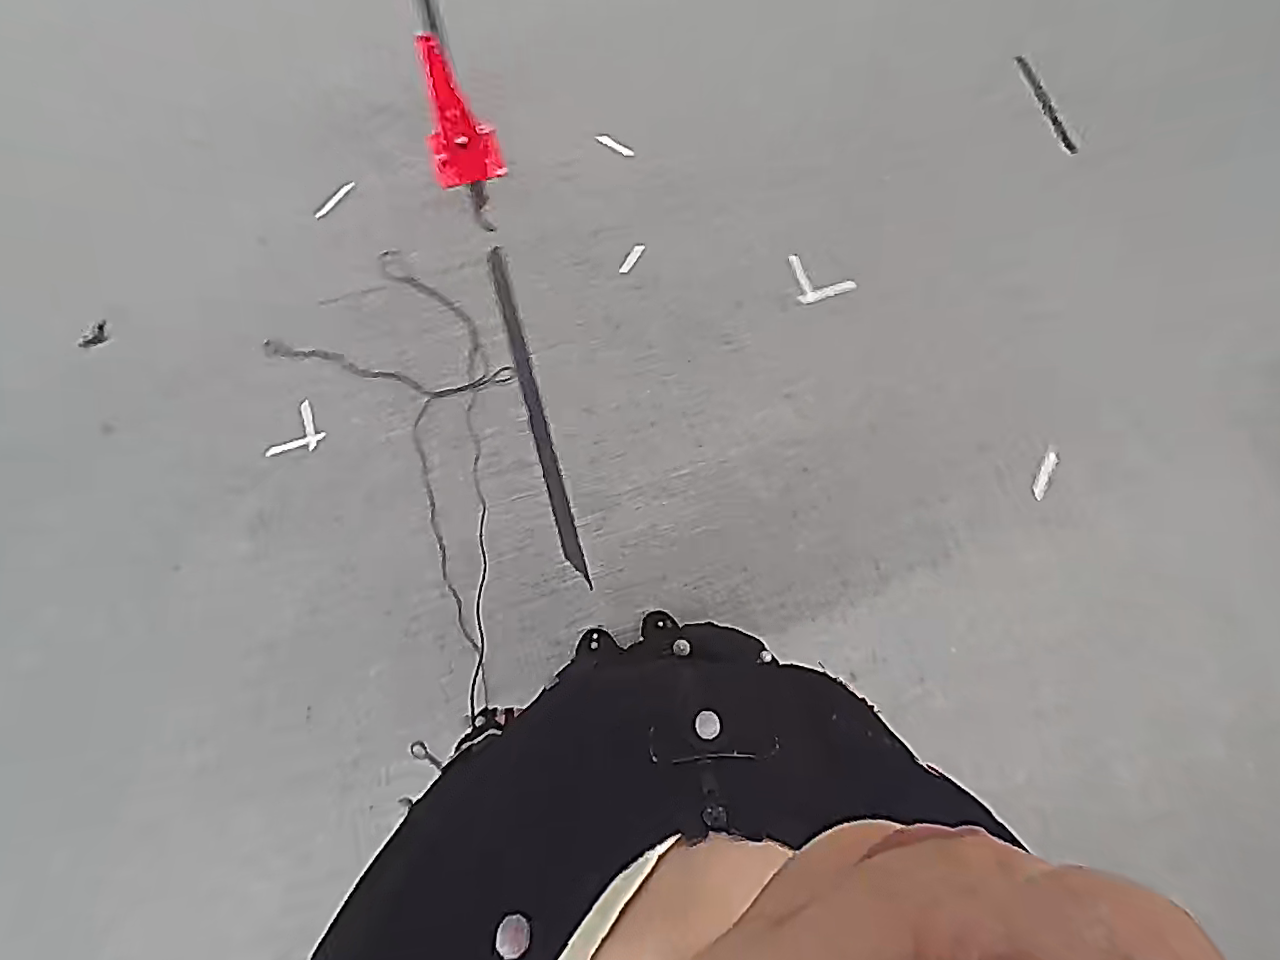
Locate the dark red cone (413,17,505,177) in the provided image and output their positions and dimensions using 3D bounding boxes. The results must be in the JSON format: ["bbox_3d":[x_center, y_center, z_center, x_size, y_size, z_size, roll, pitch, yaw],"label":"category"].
[{"bbox_3d":[-0.515,-1.036,1.455,0.201,0.394,0.202,-17,80,-4],"label":"dark red cone"}]
